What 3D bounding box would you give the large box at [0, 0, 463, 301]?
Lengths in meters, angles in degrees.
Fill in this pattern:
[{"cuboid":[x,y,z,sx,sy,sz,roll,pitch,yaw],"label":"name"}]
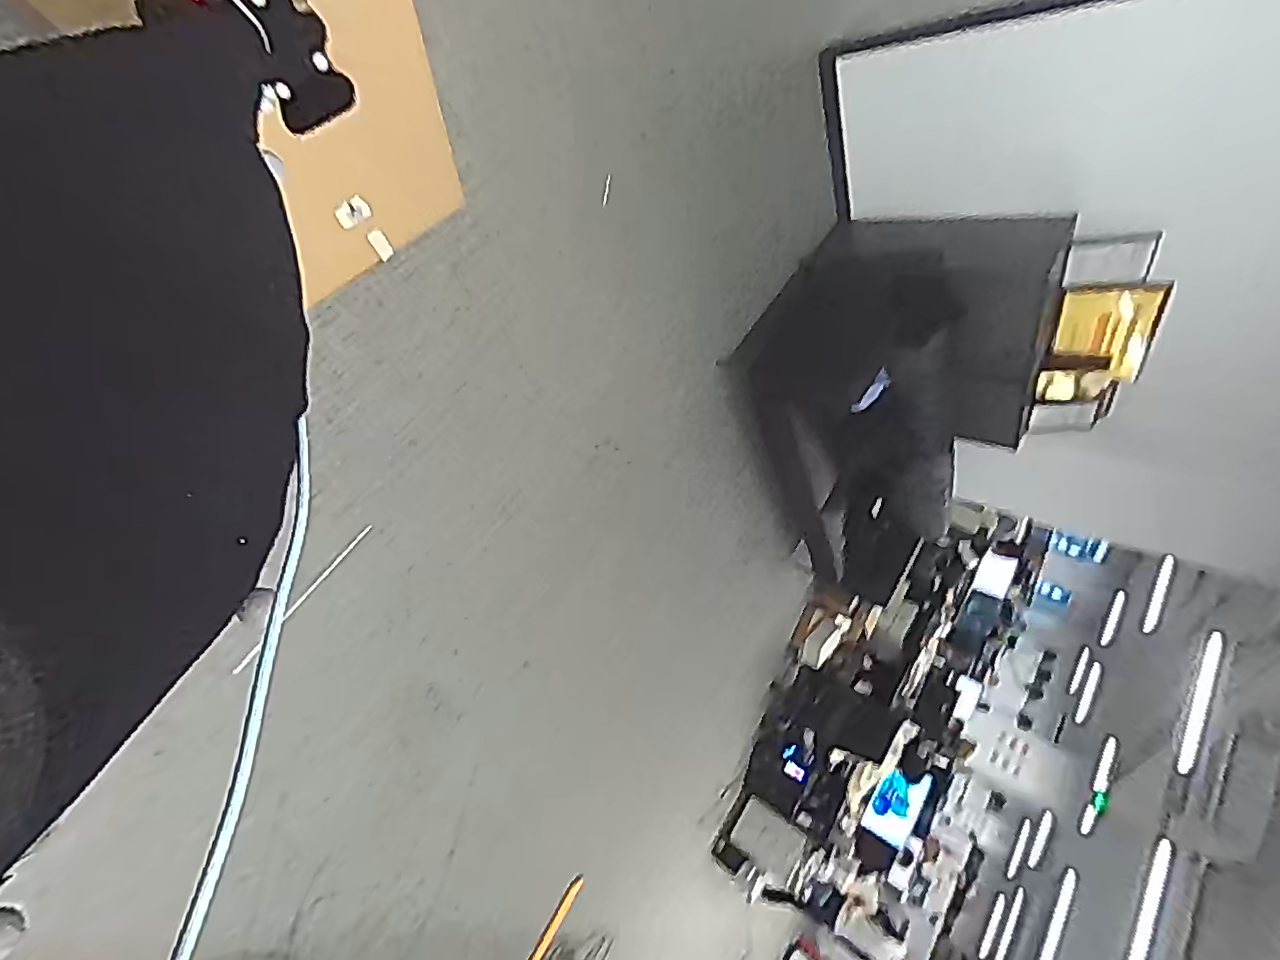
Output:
[{"cuboid":[-0.517,-0.526,0.722,0.320,0.408,0.320,-46,166,-20],"label":"large box"}]
